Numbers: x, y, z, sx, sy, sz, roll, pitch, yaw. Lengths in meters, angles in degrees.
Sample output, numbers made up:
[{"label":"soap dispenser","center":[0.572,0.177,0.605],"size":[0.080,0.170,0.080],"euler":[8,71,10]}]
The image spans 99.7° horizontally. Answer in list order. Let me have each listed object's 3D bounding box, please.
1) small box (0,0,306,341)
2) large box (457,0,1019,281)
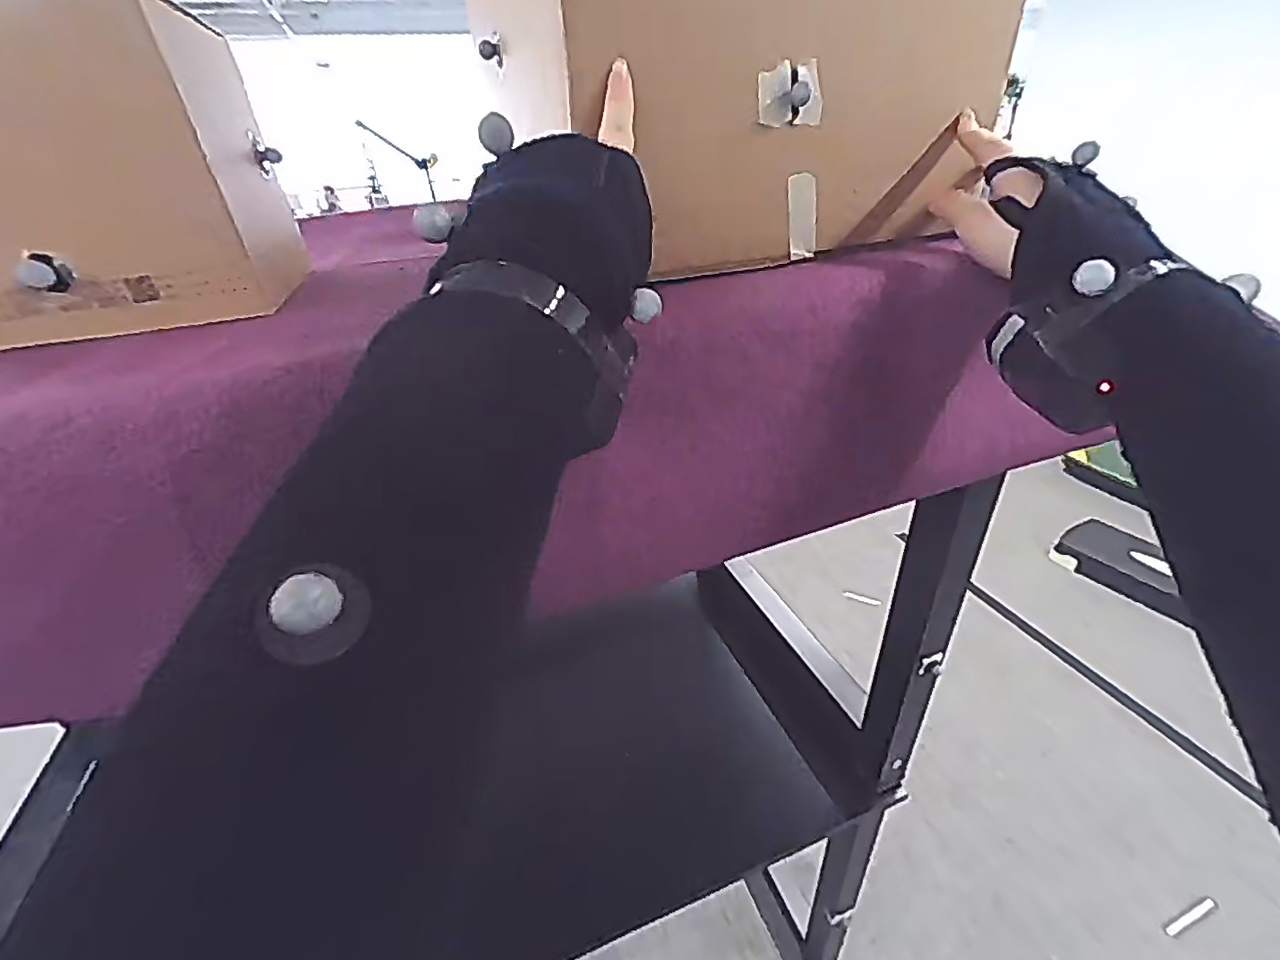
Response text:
[{"label":"small box","center":[-0.346,-0.200,0.353],"size":[0.168,0.176,0.179],"euler":[-14,33,-14]},{"label":"large box","center":[0.033,-0.374,0.454],"size":[0.320,0.320,0.408],"euler":[-14,32,-16]}]
